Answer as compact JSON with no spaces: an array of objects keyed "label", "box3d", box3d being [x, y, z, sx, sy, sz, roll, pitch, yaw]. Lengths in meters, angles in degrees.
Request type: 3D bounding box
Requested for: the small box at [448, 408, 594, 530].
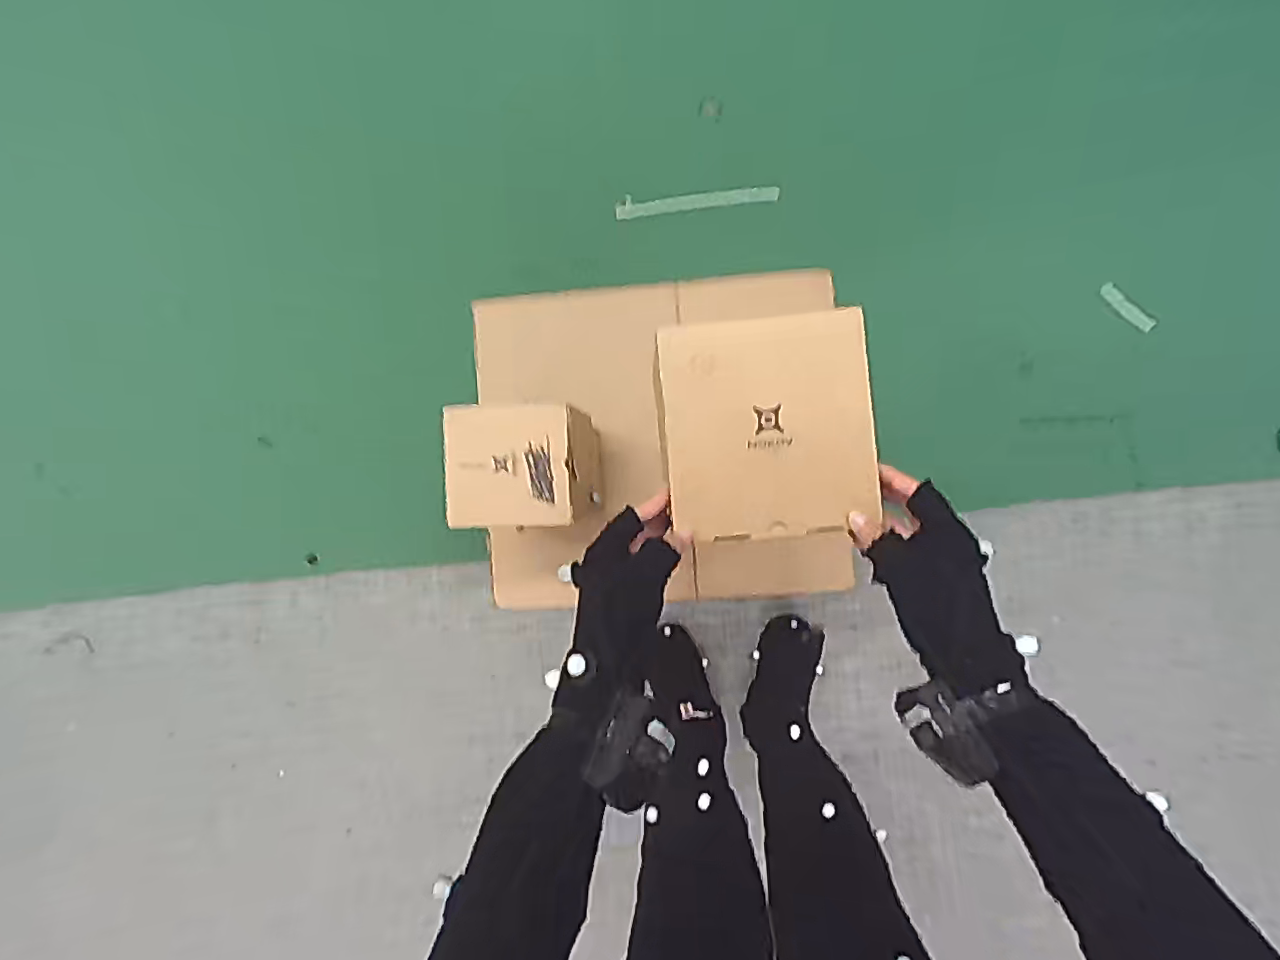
[{"label":"small box","box3d":[-0.165,-0.016,0.802,0.179,0.176,0.168,-1,90,7]}]
